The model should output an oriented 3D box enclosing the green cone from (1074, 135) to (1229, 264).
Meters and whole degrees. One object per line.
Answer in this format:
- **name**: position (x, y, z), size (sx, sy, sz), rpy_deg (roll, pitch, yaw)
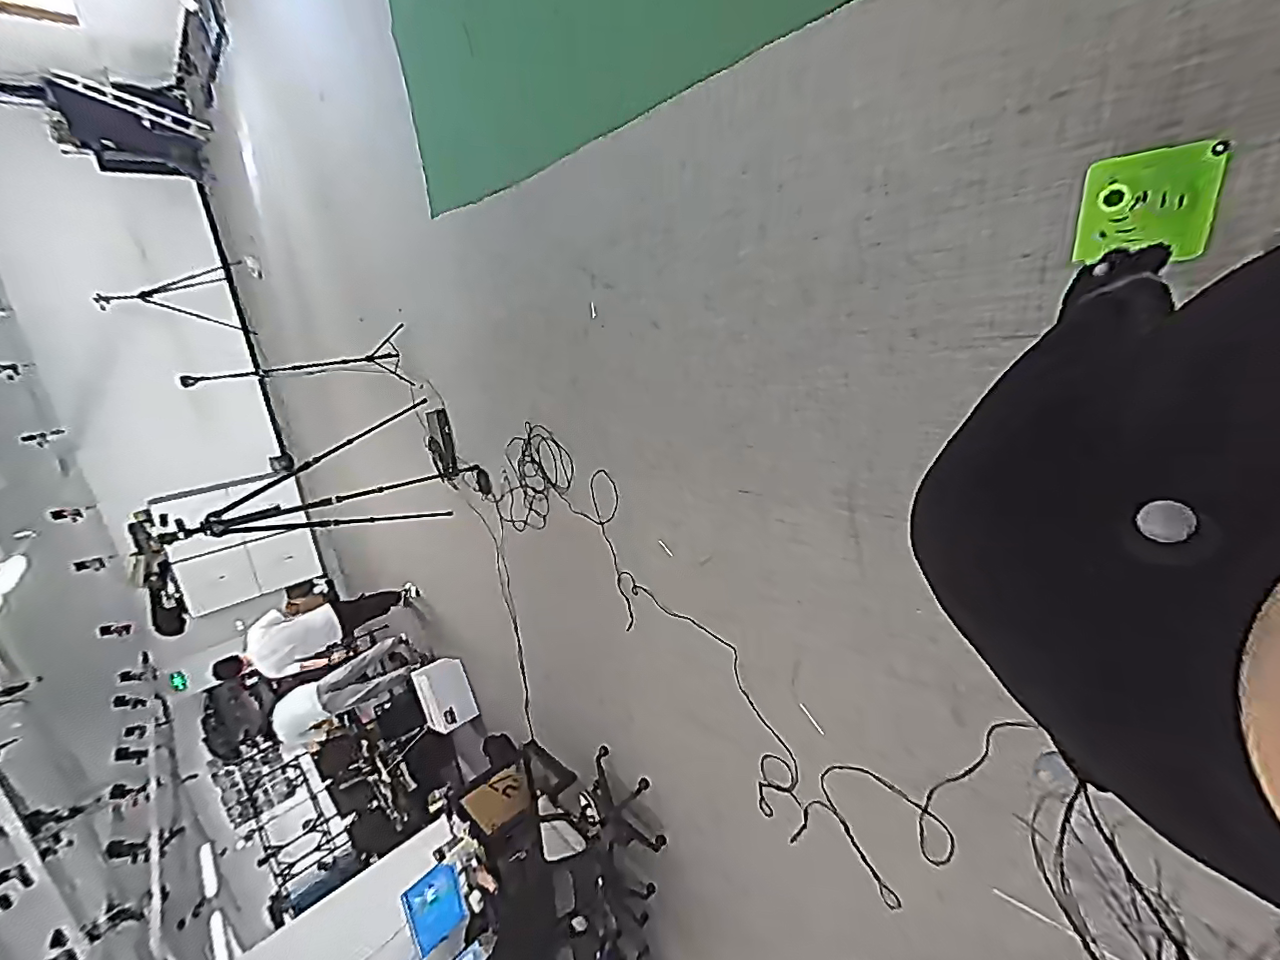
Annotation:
- **green cone**: position (0.854, -0.486, 0.942), size (0.200, 0.368, 0.202), rpy_deg (14, 117, 46)
